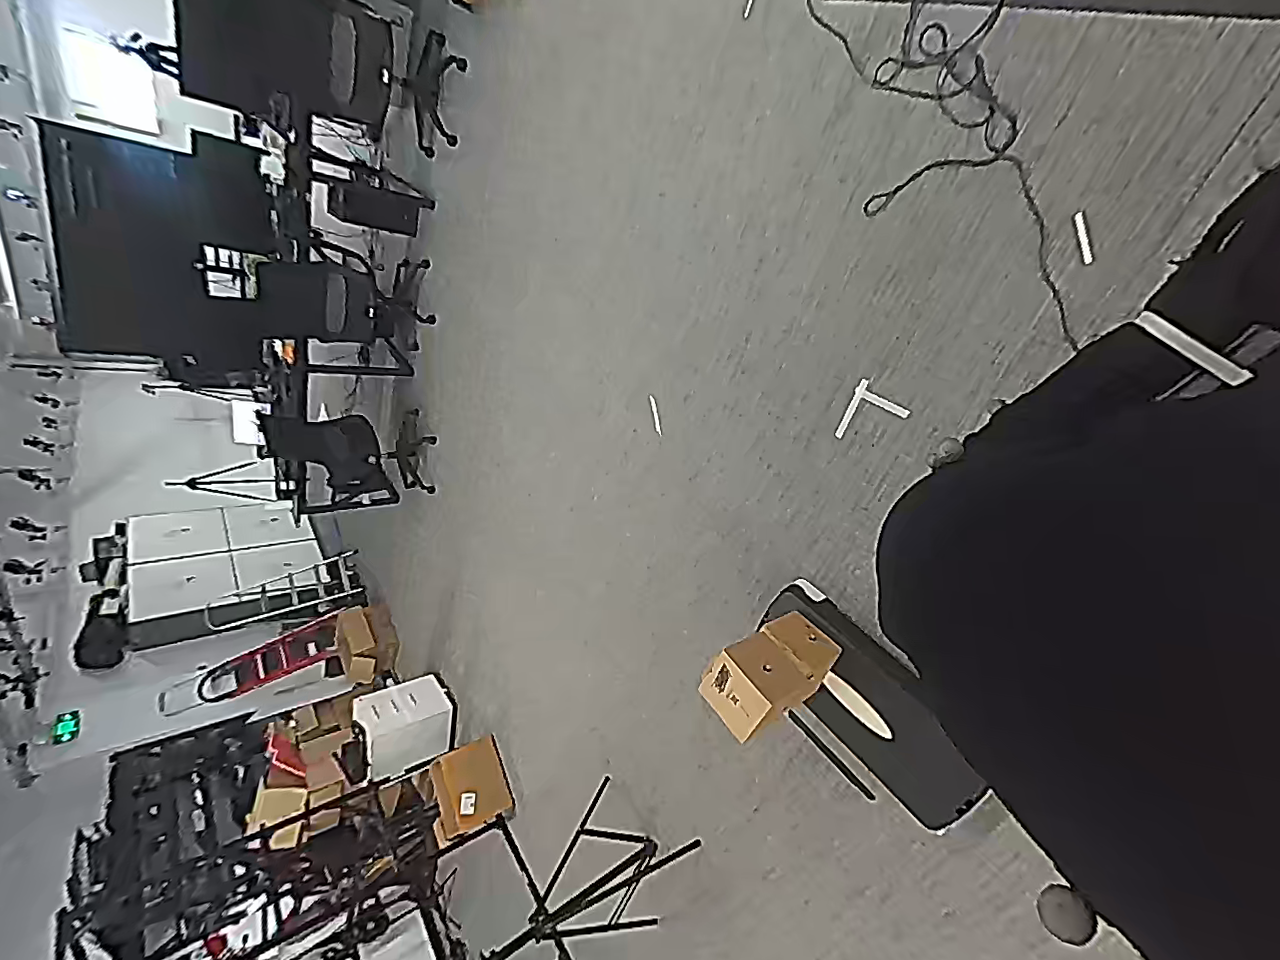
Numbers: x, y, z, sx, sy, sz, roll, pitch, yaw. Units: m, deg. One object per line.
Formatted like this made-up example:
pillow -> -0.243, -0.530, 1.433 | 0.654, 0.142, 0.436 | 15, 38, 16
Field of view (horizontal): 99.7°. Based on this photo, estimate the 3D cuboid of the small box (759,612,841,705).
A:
small box -> 0.423, 0.497, 1.495 | 0.168, 0.176, 0.179 | 40, 123, 38

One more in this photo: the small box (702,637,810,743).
small box -> 0.298, 0.528, 1.392 | 0.179, 0.176, 0.168 | 45, 127, 34
